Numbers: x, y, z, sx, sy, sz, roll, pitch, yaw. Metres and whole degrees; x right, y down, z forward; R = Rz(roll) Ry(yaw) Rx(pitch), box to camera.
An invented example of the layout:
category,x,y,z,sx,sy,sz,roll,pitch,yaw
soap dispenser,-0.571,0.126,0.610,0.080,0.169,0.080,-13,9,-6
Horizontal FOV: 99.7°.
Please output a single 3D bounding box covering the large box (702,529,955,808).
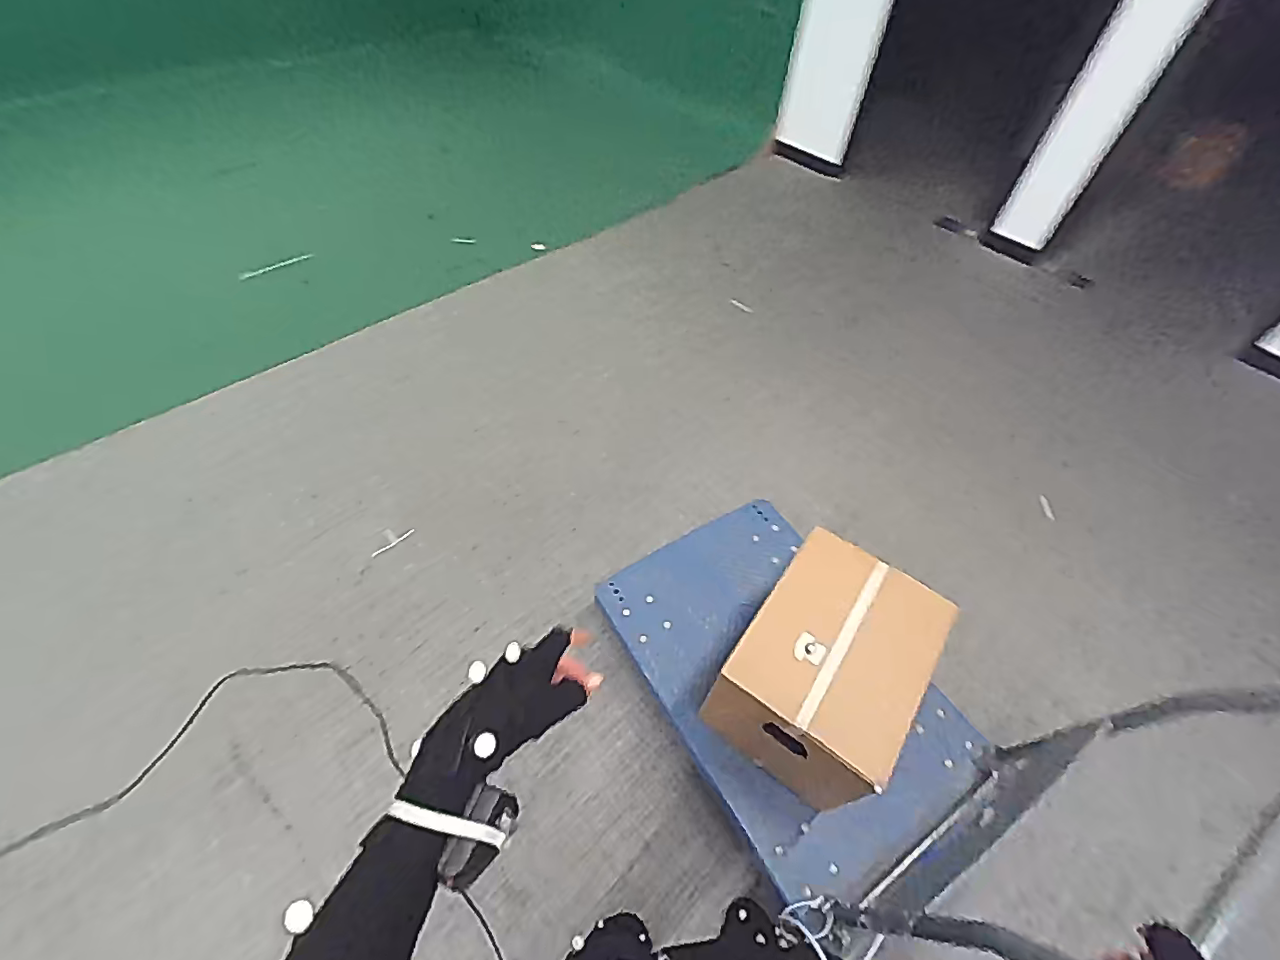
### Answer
category,x,y,z,sx,sy,sz,roll,pitch,yaw
large box,0.381,0.391,1.137,0.320,0.320,0.408,32,58,20
